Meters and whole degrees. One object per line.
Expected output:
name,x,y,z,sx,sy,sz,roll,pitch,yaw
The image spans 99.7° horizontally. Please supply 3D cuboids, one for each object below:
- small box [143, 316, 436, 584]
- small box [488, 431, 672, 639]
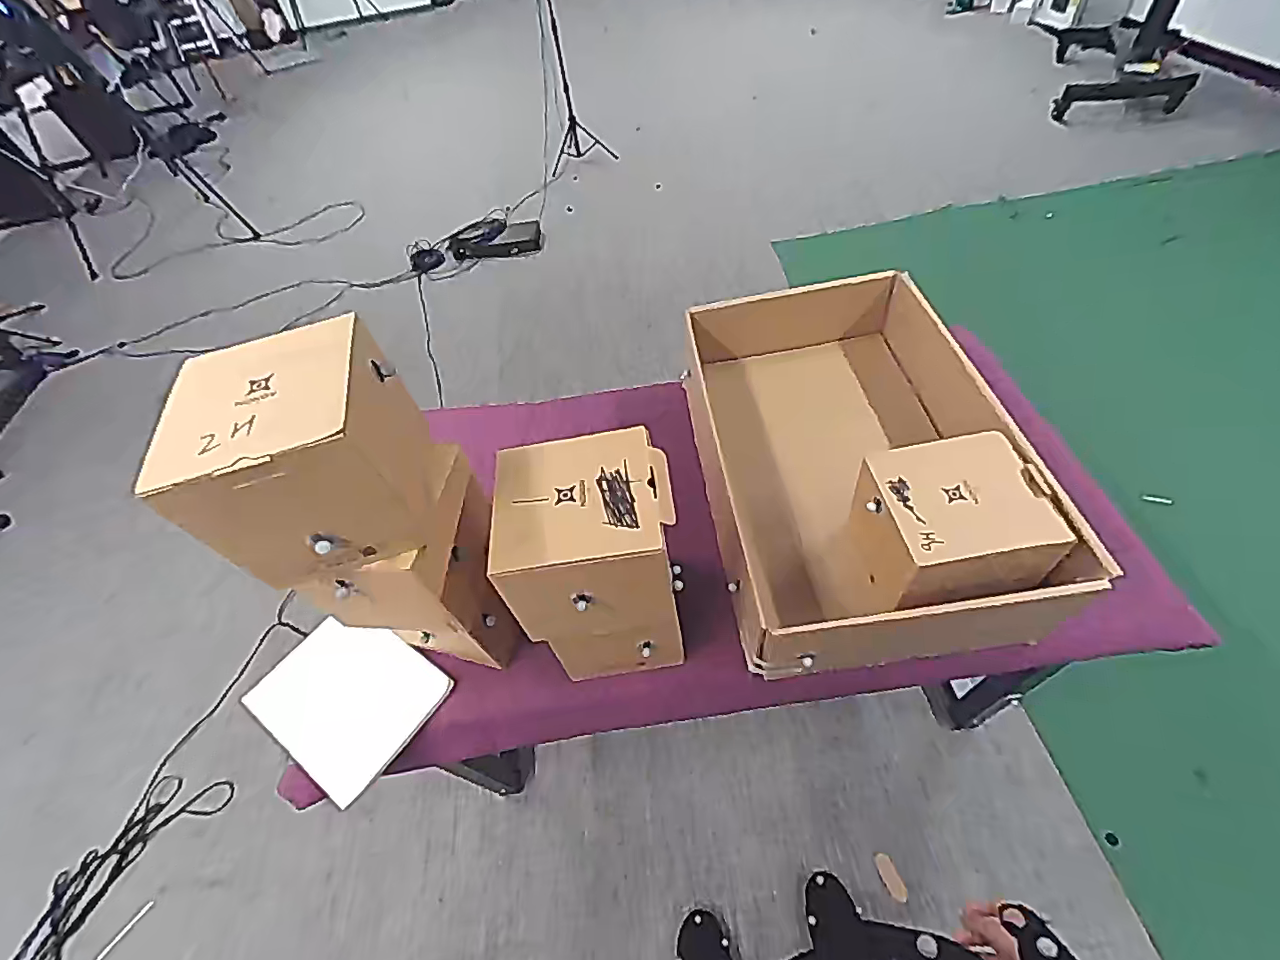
small box,-0.316,-0.027,0.534,0.168,0.176,0.179,-17,52,-3
small box,-0.059,0.069,0.628,0.179,0.176,0.168,-9,50,2
